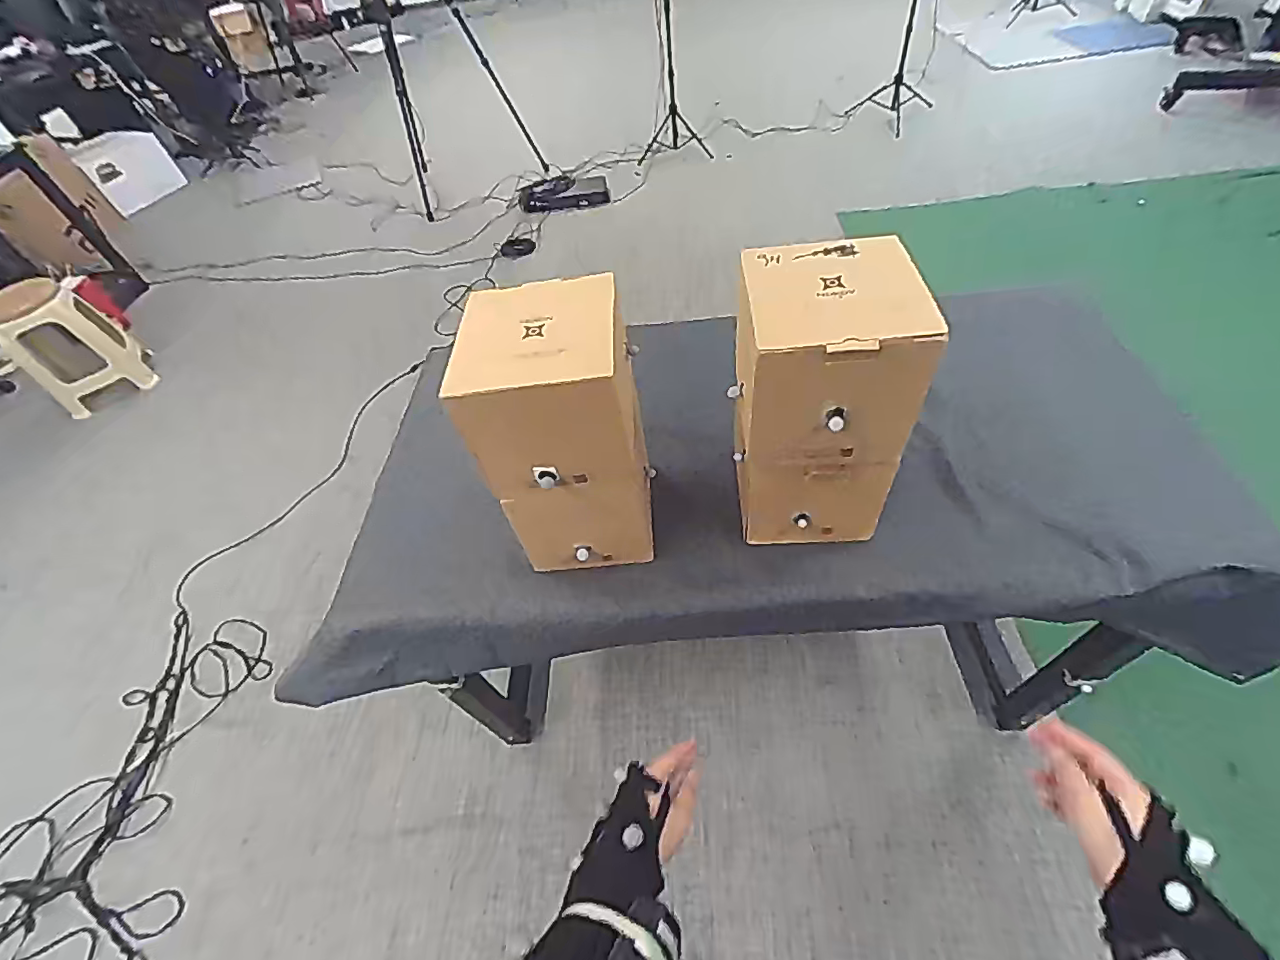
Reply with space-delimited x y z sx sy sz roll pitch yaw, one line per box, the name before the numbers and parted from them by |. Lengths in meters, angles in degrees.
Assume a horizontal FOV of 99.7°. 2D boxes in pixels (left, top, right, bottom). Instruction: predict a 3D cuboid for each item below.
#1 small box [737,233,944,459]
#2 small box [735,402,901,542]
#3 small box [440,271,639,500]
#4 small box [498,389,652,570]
small box | 0.194 -0.134 0.582 0.168 0.176 0.179 -3 52 6
small box | 0.216 -0.037 0.712 0.168 0.176 0.179 -3 51 6
small box | -0.095 -0.100 0.598 0.168 0.176 0.179 -7 52 5
small box | -0.075 0.000 0.724 0.168 0.176 0.179 -6 51 4
